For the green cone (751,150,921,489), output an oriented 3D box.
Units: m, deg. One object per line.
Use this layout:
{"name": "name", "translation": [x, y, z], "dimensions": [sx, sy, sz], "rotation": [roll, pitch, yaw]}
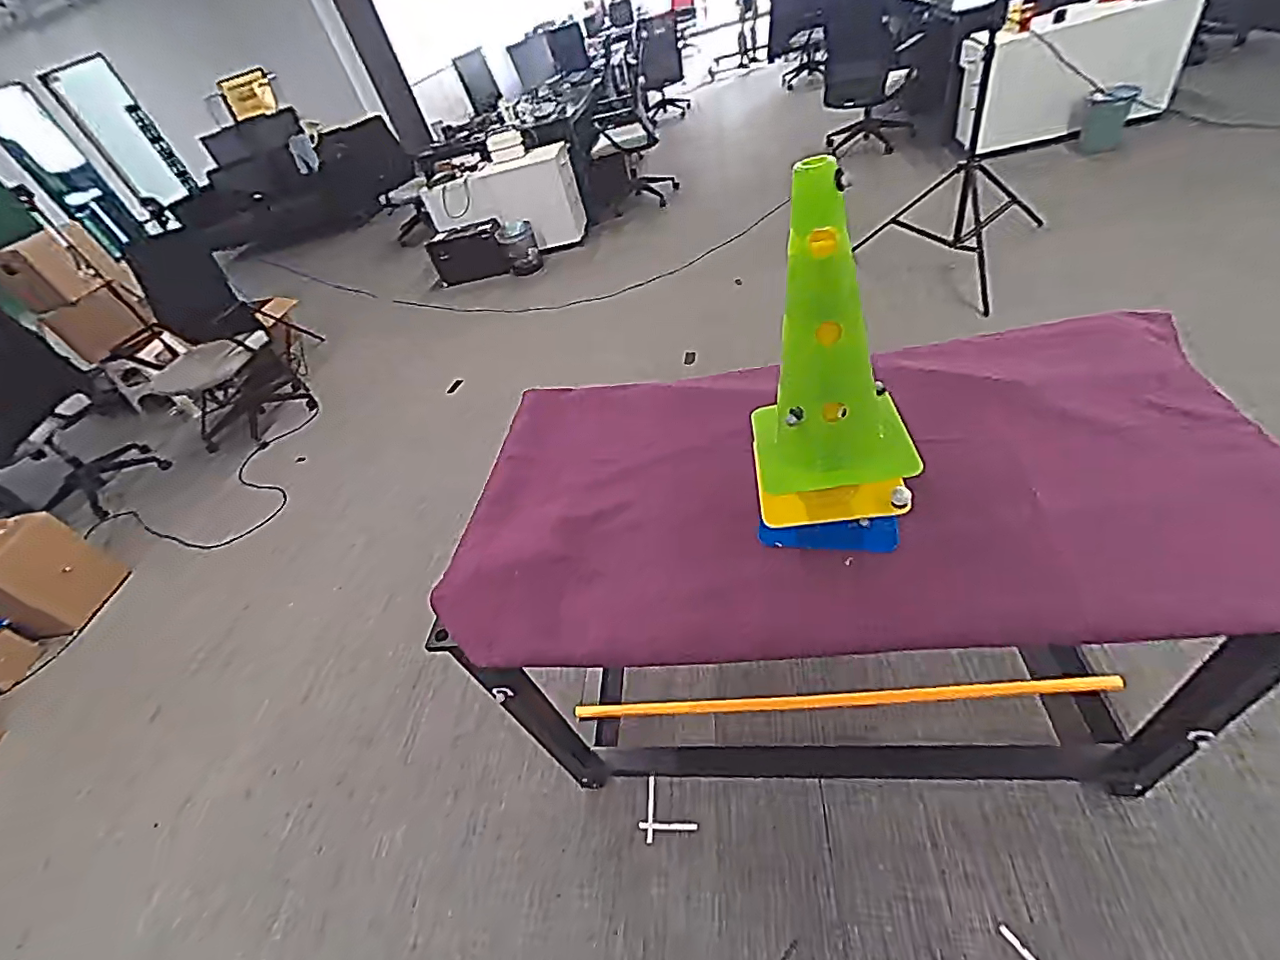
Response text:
{"name": "green cone", "translation": [0.216, -0.190, 0.649], "dimensions": [0.200, 0.368, 0.202], "rotation": [-10, 41, 13]}
